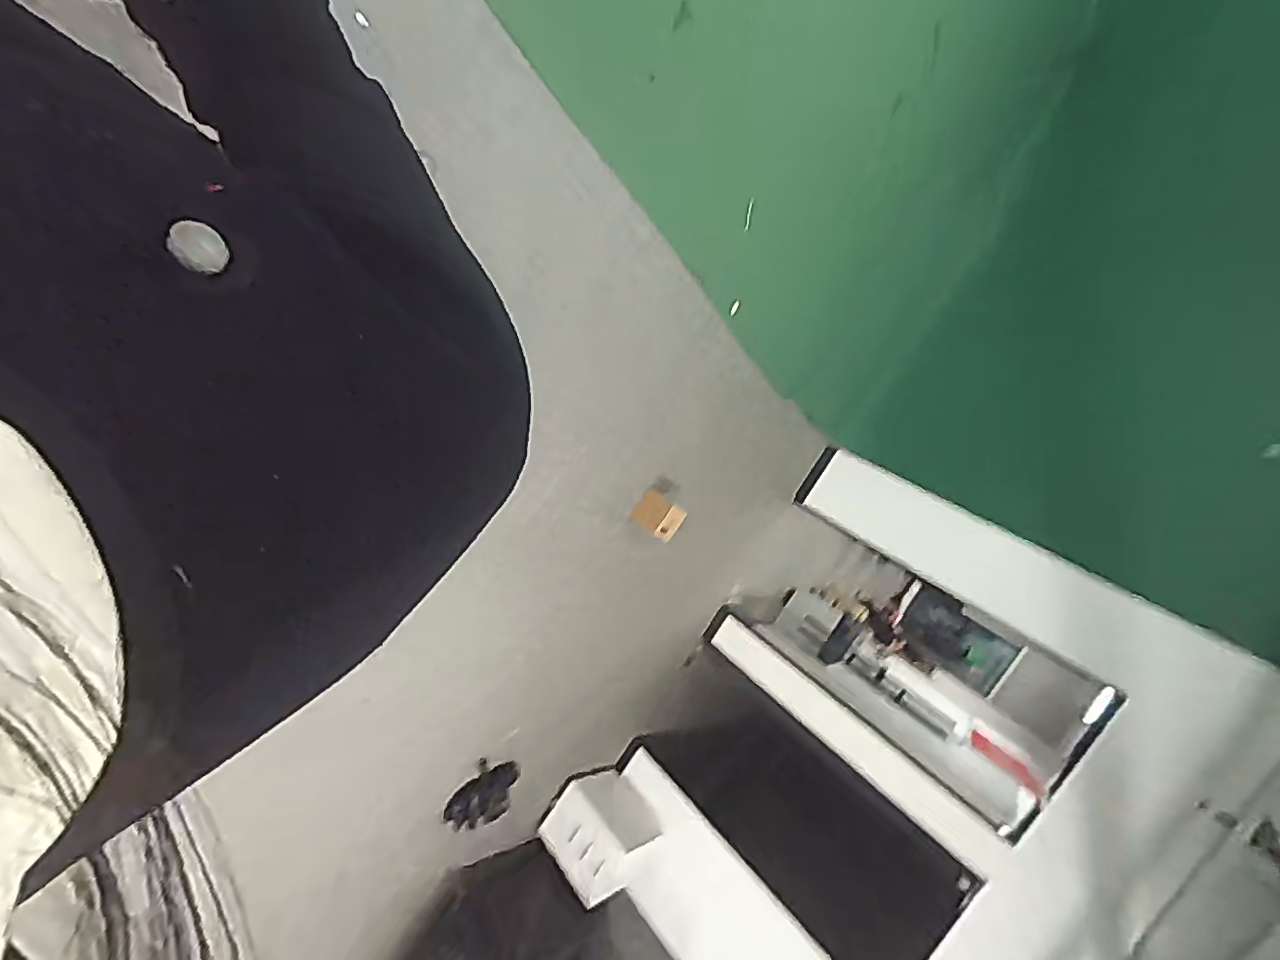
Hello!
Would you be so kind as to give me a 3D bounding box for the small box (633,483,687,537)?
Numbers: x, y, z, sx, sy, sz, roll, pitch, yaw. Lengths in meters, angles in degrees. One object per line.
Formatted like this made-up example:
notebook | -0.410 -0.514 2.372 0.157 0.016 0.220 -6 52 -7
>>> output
small box | 0.091 0.143 2.598 0.179 0.176 0.168 -56 146 -1
